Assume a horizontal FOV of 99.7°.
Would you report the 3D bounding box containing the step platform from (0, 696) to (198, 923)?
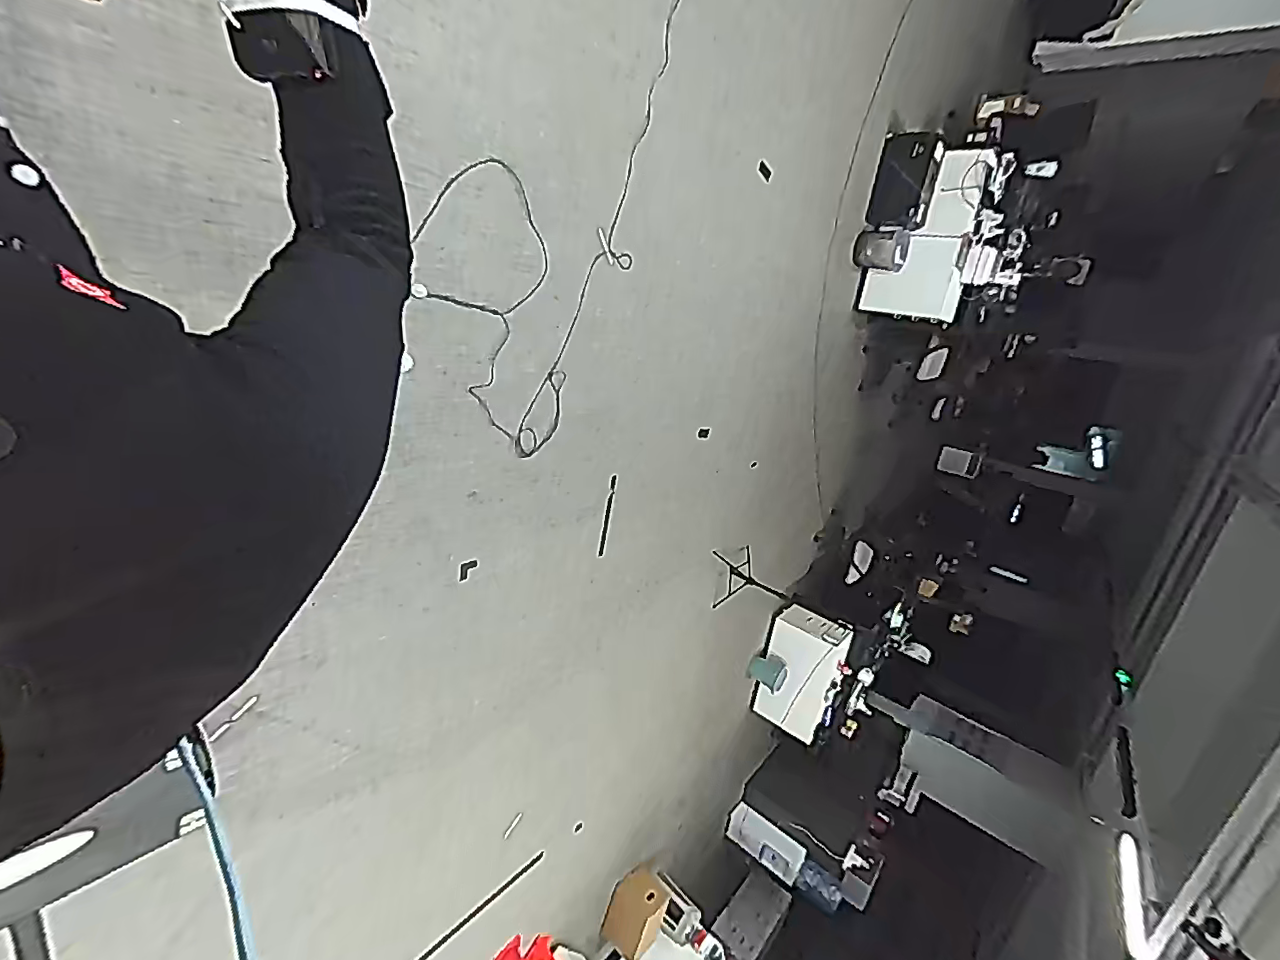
[{"bbox_3d":[-1.321,0.731,1.075,0.684,0.204,0.286,-15,119,-48],"label":"step platform"}]
